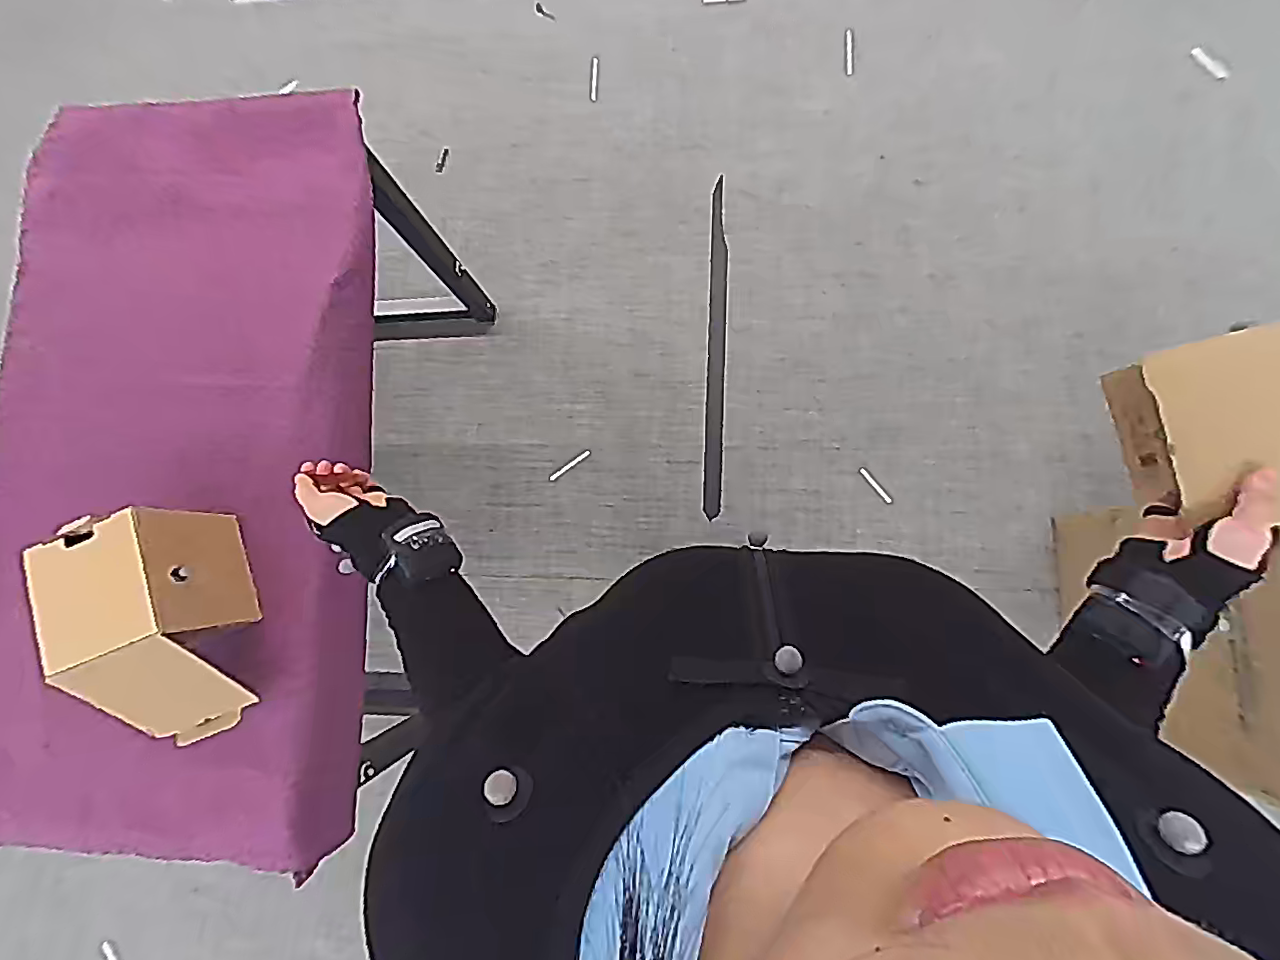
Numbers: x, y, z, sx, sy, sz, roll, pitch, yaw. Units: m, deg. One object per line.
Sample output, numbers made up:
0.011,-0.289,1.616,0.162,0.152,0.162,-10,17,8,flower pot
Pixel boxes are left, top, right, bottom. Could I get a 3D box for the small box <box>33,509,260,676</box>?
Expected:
-0.694,0.156,0.781,0.168,0.176,0.179,-22,79,2,small box
